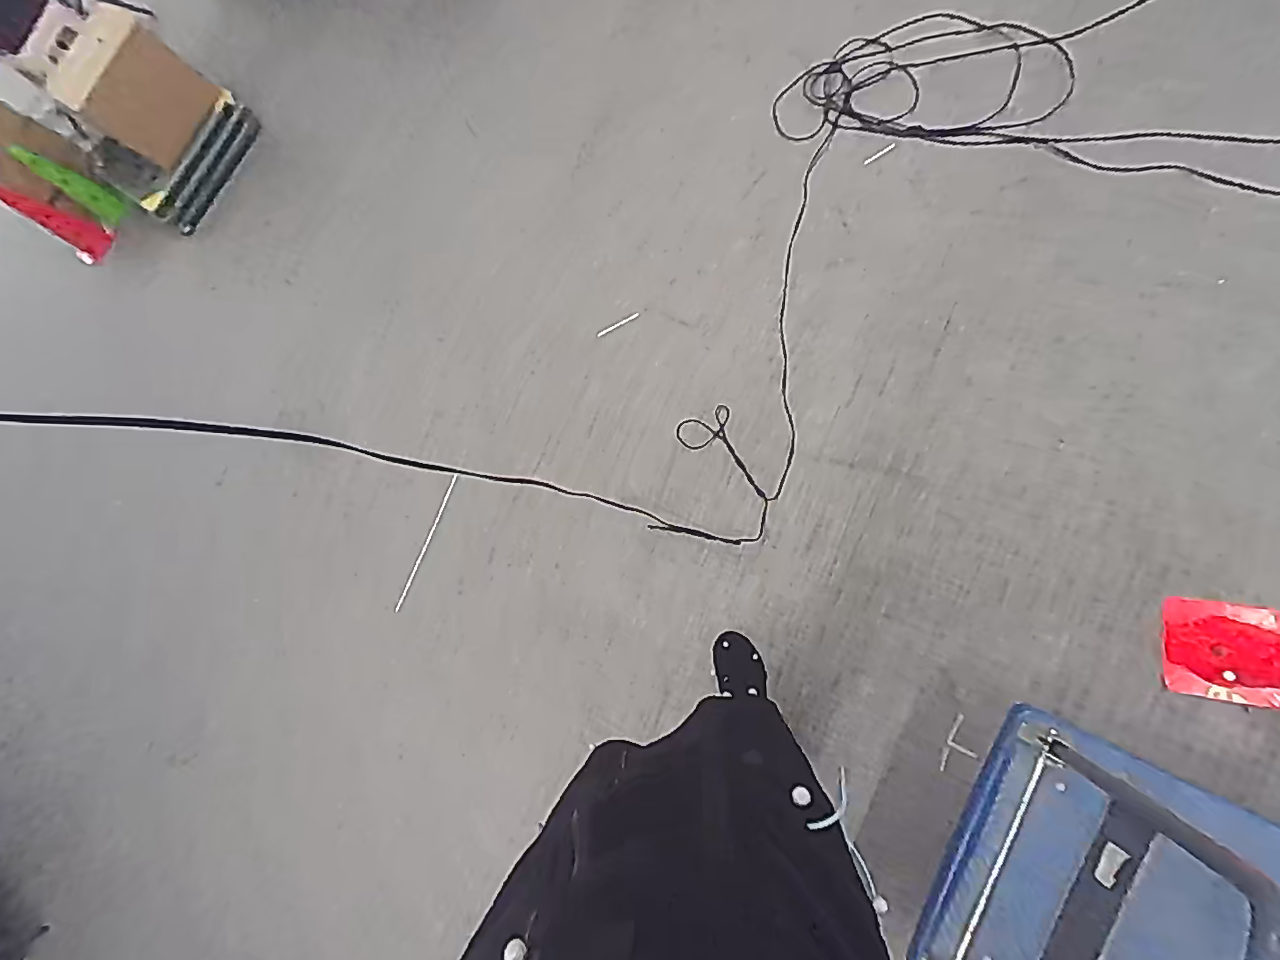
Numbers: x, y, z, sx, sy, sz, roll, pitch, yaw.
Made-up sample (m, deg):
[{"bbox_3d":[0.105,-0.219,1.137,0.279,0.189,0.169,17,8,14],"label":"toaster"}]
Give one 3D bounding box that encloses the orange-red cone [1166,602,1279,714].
[{"bbox_3d":[1.161,0.329,0.953,0.198,0.360,0.199,7,80,17],"label":"orange-red cone"}]
